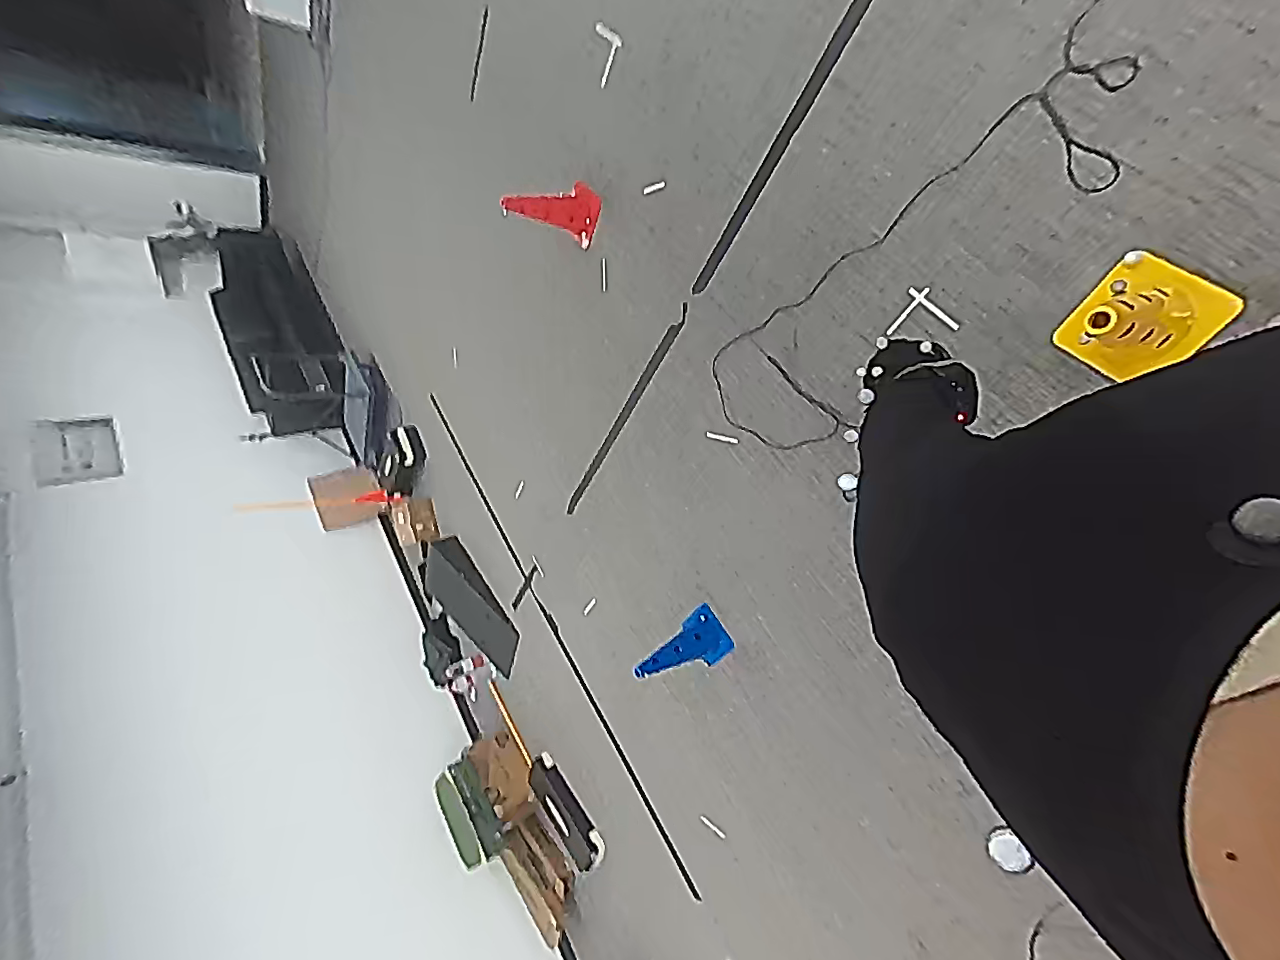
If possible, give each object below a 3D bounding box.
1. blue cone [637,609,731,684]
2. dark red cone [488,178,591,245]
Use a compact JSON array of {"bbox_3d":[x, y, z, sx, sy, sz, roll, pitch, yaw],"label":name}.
[{"bbox_3d":[0.132,0.634,1.962,0.192,0.380,0.193,56,137,22],"label":"blue cone"},{"bbox_3d":[-0.392,-1.044,2.056,0.201,0.394,0.202,49,134,28],"label":"dark red cone"}]
